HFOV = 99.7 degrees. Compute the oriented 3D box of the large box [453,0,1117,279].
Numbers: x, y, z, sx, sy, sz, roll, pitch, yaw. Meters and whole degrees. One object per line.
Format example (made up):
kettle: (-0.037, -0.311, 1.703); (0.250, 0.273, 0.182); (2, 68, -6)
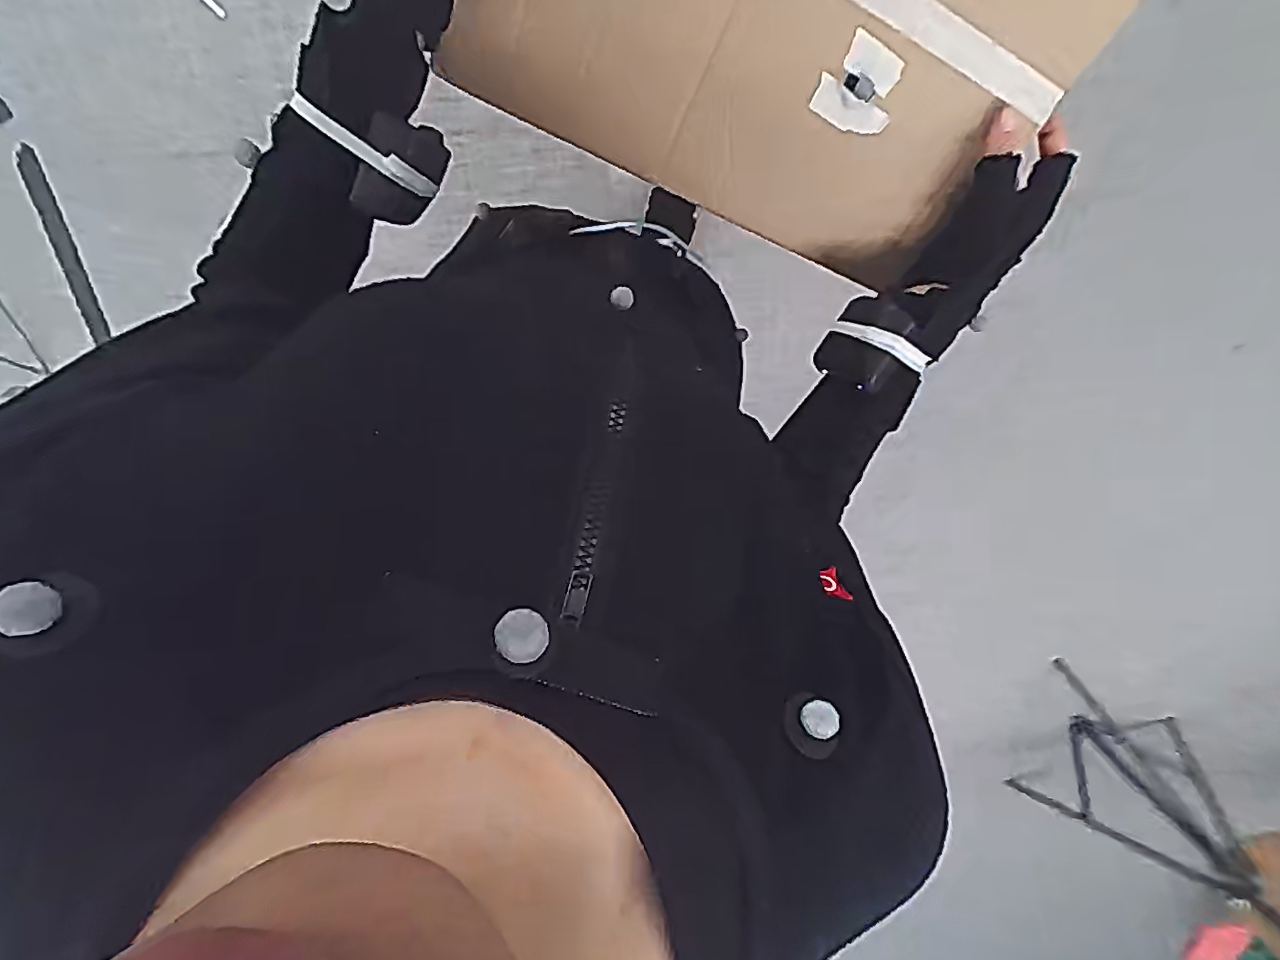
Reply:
large box: (0.102, -0.435, 0.441); (0.408, 0.320, 0.320); (16, 133, -18)
